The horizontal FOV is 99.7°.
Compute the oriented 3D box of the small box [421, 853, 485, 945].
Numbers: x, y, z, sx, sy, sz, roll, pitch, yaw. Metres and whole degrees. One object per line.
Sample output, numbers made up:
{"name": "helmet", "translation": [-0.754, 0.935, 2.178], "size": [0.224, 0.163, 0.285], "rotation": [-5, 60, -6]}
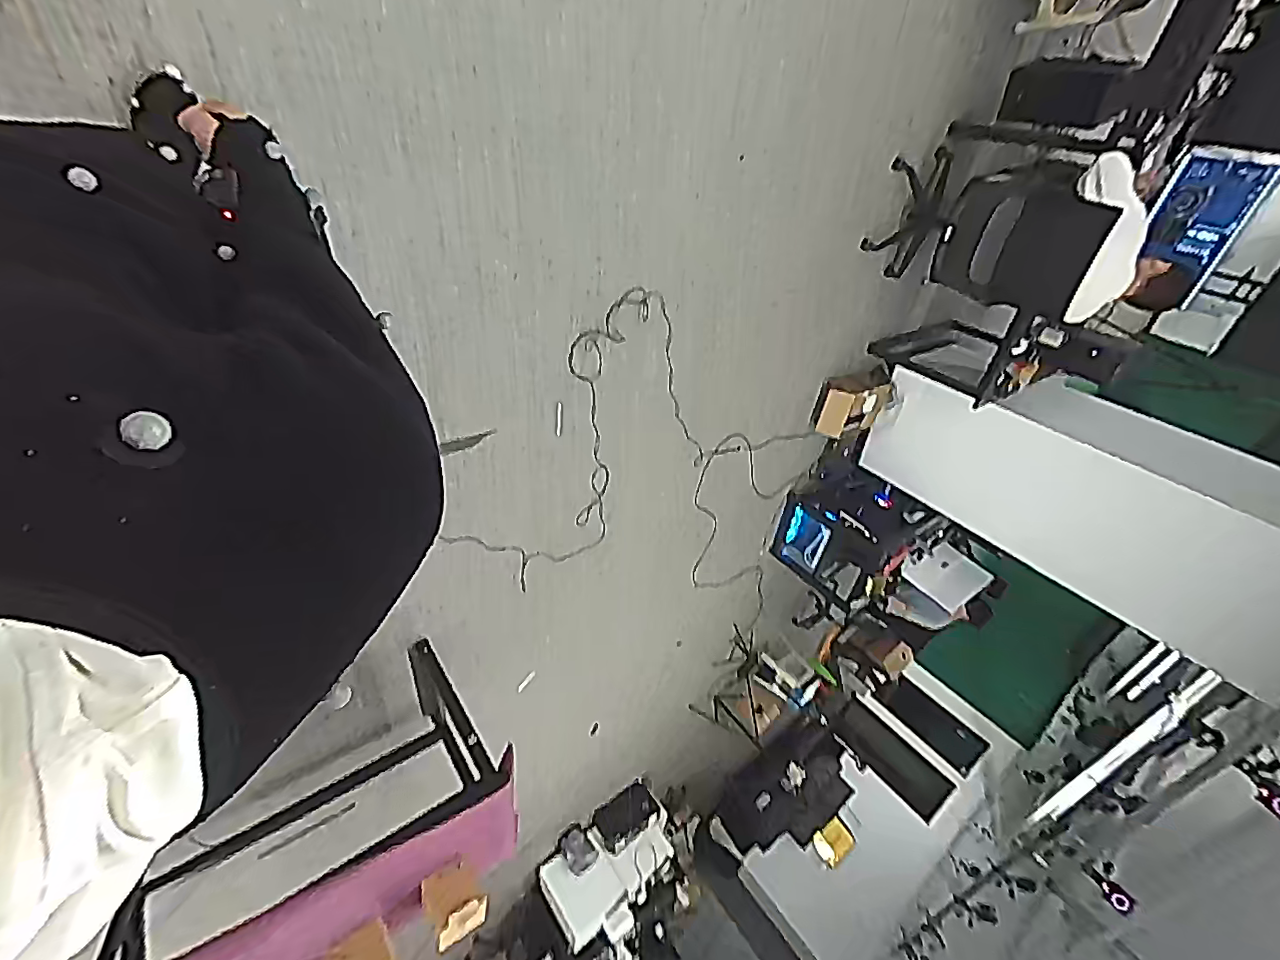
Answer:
{"name": "small box", "translation": [-0.660, 1.463, 1.900], "size": [0.168, 0.176, 0.179], "rotation": [-14, 131, -37]}
